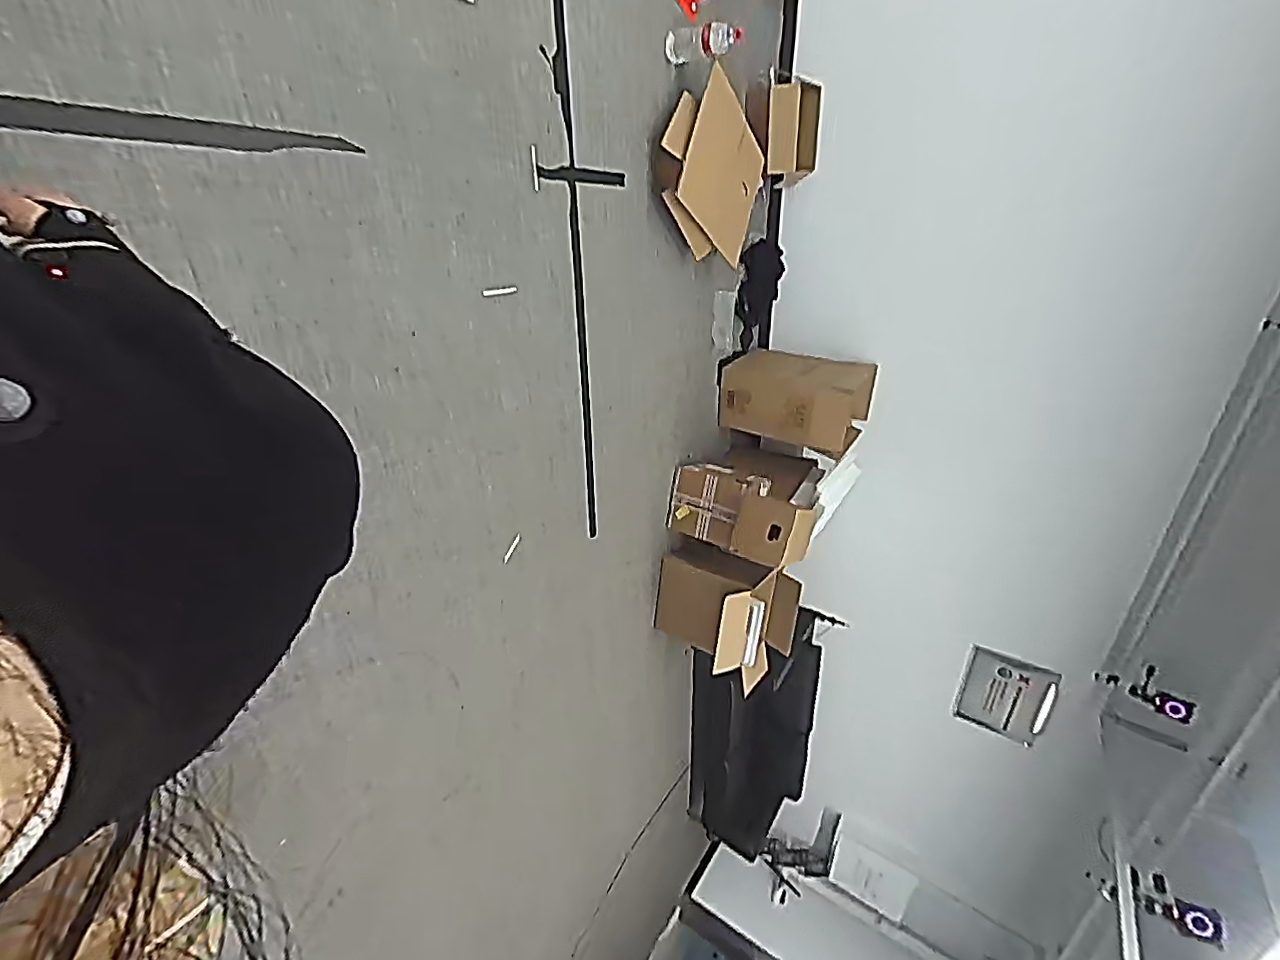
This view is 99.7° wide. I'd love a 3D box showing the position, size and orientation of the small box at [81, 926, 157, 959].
[{"bbox_3d":[-1.039,1.030,1.045,0.179,0.176,0.168,-33,128,-47],"label":"small box"}]
